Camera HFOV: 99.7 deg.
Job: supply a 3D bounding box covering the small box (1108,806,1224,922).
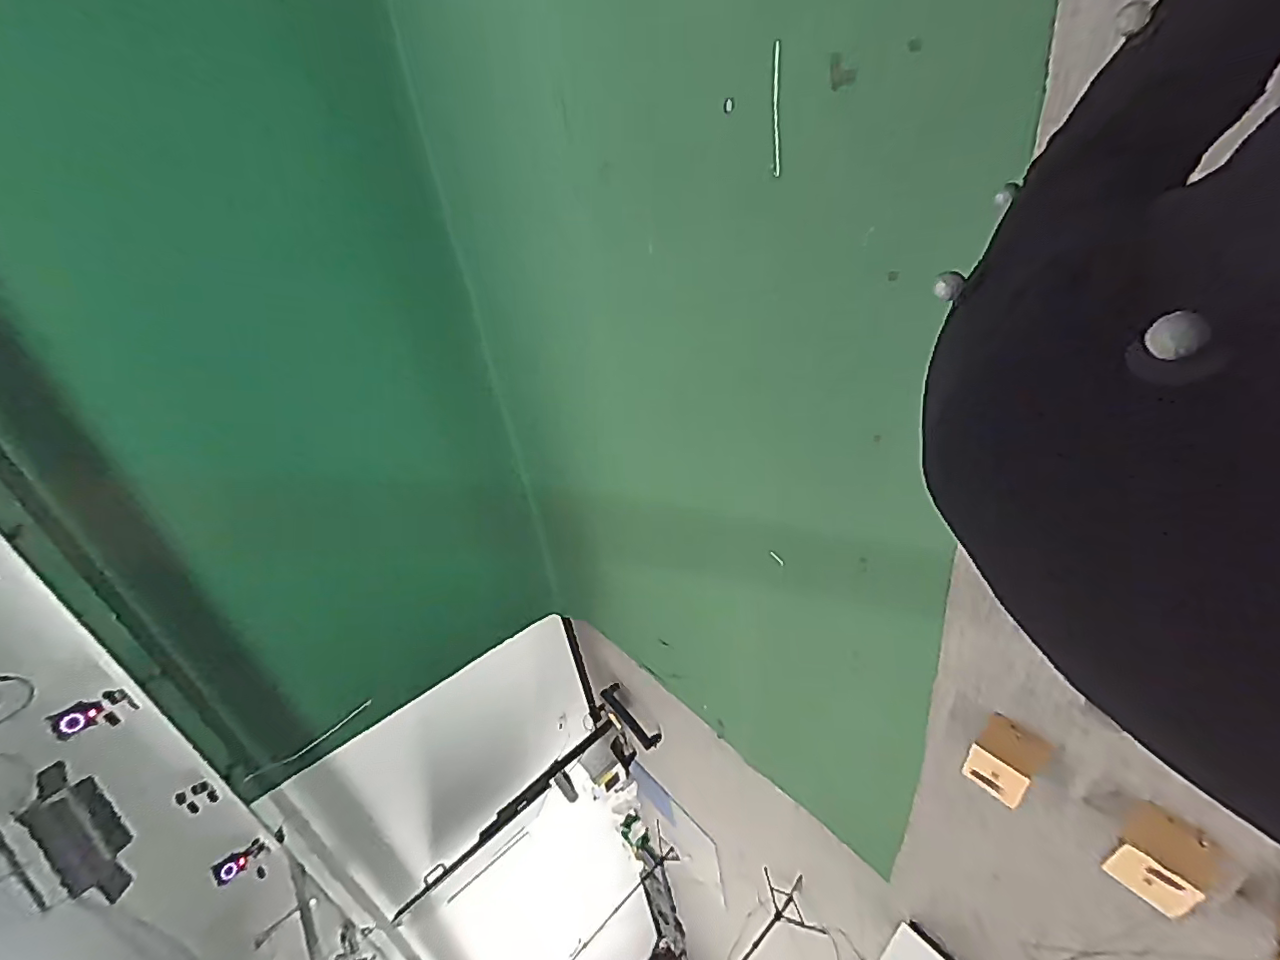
[{"bbox_3d":[1.444,1.044,1.483,0.168,0.176,0.179,33,140,41],"label":"small box"}]
